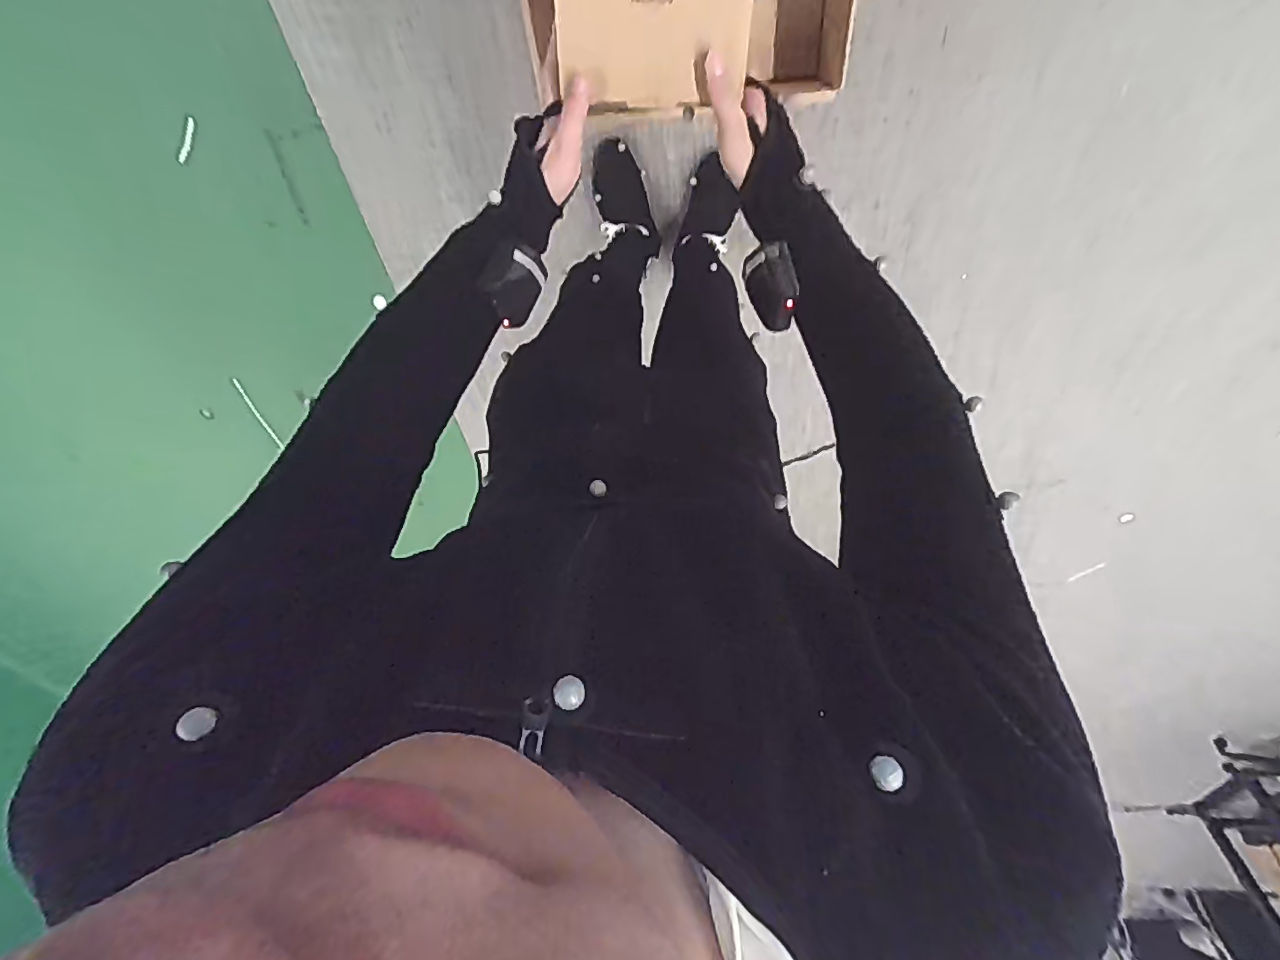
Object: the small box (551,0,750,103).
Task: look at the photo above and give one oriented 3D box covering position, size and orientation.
[{"bbox_3d":[0.014,-0.454,0.489,0.168,0.176,0.179,2,127,3],"label":"small box"}]
